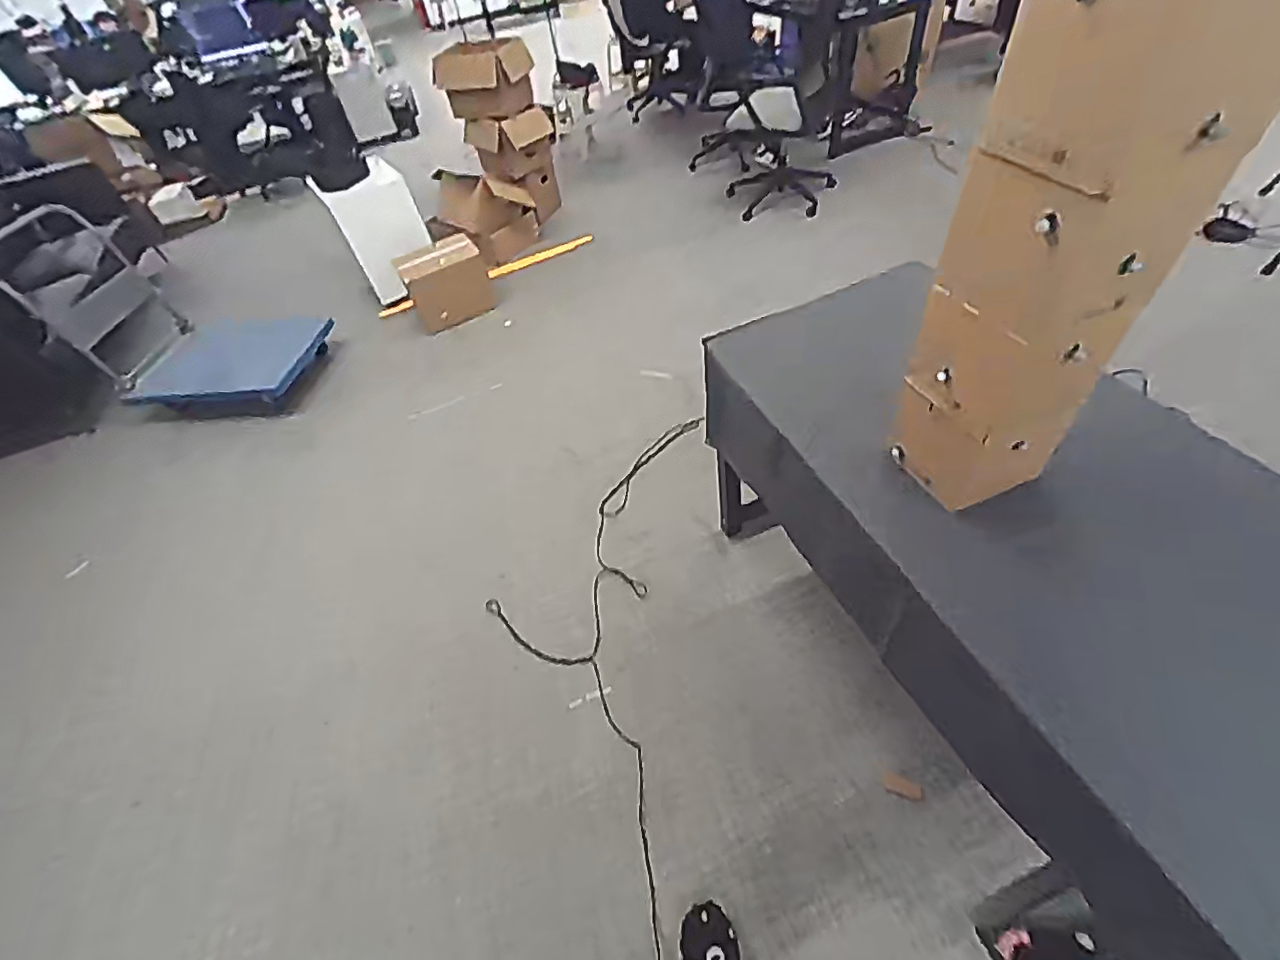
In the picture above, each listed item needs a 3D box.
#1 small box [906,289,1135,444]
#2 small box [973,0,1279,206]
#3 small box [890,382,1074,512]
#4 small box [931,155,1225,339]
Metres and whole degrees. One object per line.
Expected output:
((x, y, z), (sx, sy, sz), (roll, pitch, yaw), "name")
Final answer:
((0.512, -0.181, 0.760), (0.179, 0.176, 0.168), (-22, 49, -8), "small box")
((0.464, -0.390, 0.511), (0.179, 0.176, 0.168), (-20, 49, -7), "small box")
((0.536, -0.076, 0.881), (0.179, 0.176, 0.168), (-21, 48, -9), "small box")
((0.486, -0.286, 0.636), (0.168, 0.176, 0.179), (-20, 49, -7), "small box")
